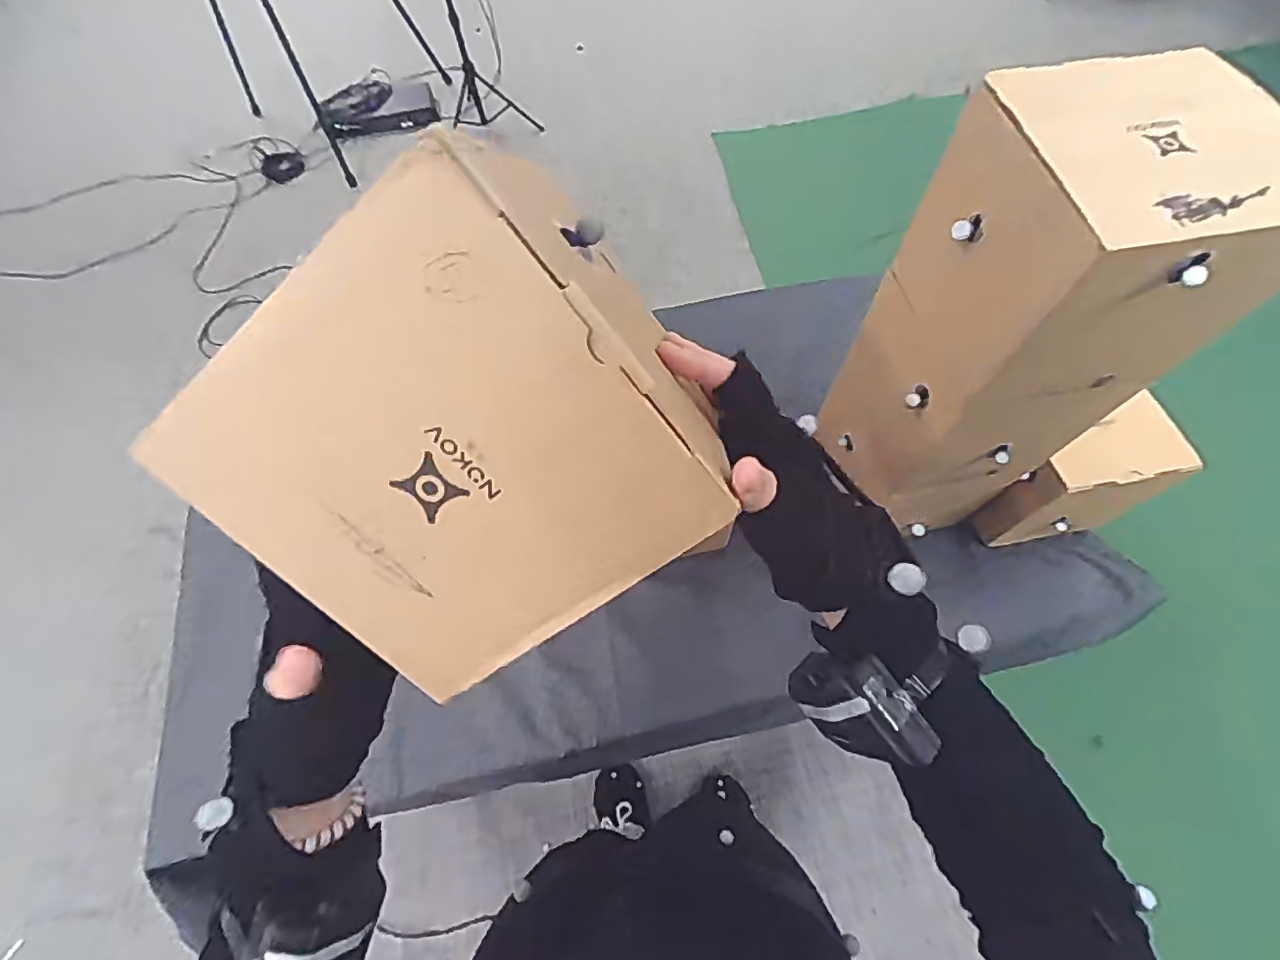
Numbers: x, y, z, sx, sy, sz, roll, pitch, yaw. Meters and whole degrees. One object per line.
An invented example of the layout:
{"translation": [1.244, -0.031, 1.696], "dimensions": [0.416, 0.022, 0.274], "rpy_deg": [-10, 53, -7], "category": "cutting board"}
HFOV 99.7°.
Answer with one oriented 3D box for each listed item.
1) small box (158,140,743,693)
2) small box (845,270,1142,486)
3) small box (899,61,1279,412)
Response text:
{"translation": [-0.072, -0.035, 0.285], "dimensions": [0.179, 0.176, 0.168], "rpy_deg": [-36, 108, 18], "category": "small box"}
{"translation": [0.340, -0.106, 0.566], "dimensions": [0.168, 0.176, 0.179], "rpy_deg": [-10, 63, -2], "category": "small box"}
{"translation": [0.332, -0.178, 0.418], "dimensions": [0.168, 0.176, 0.179], "rpy_deg": [-8, 63, -1], "category": "small box"}
